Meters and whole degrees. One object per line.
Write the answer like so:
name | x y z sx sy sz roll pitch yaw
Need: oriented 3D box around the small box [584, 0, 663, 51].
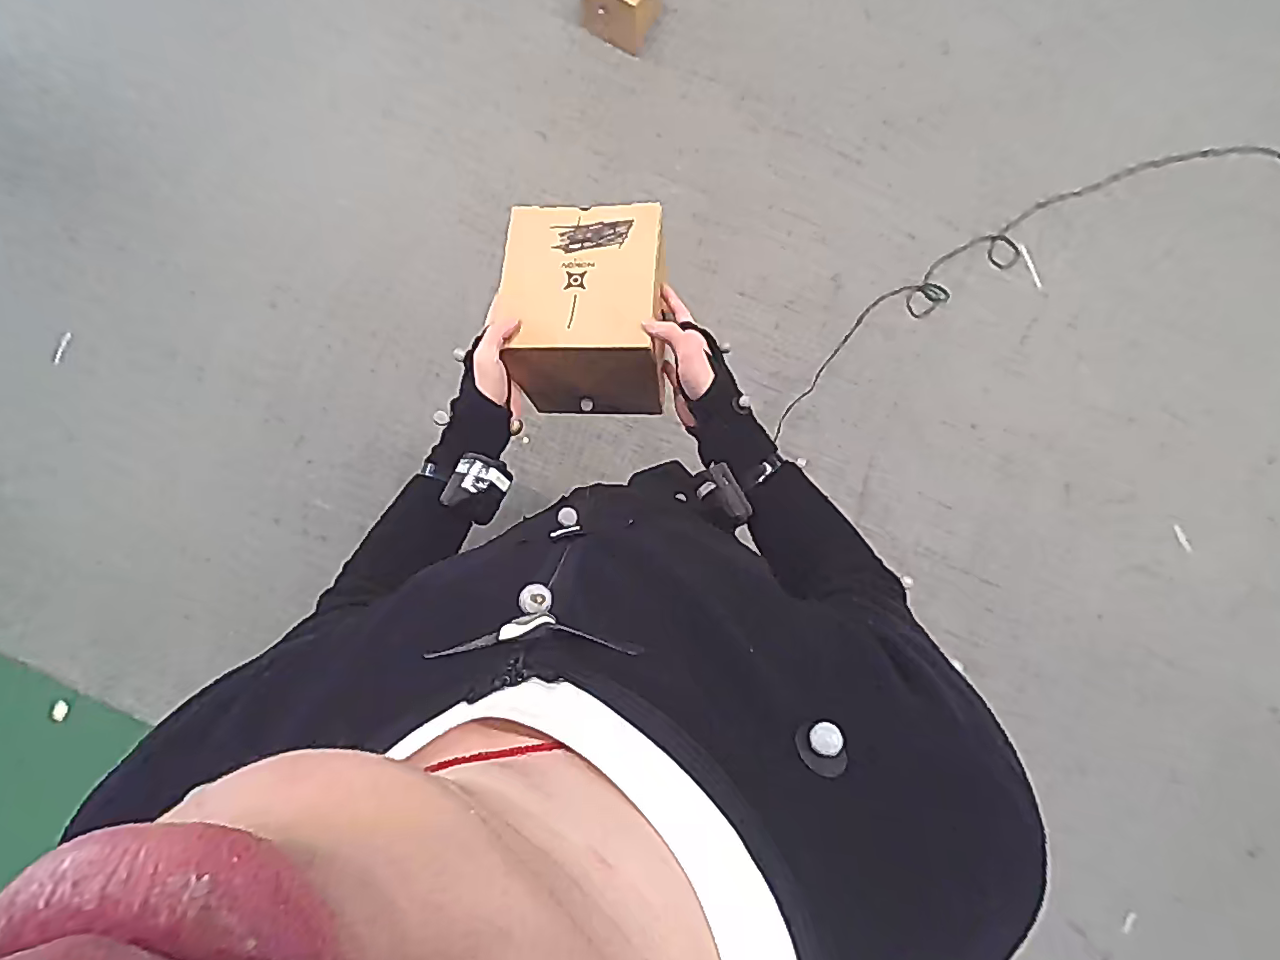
small box | -0.046 -1.339 1.481 0.179 0.176 0.168 30 89 1

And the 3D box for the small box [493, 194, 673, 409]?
small box | -0.051 -0.200 0.631 0.168 0.176 0.179 3 74 8
